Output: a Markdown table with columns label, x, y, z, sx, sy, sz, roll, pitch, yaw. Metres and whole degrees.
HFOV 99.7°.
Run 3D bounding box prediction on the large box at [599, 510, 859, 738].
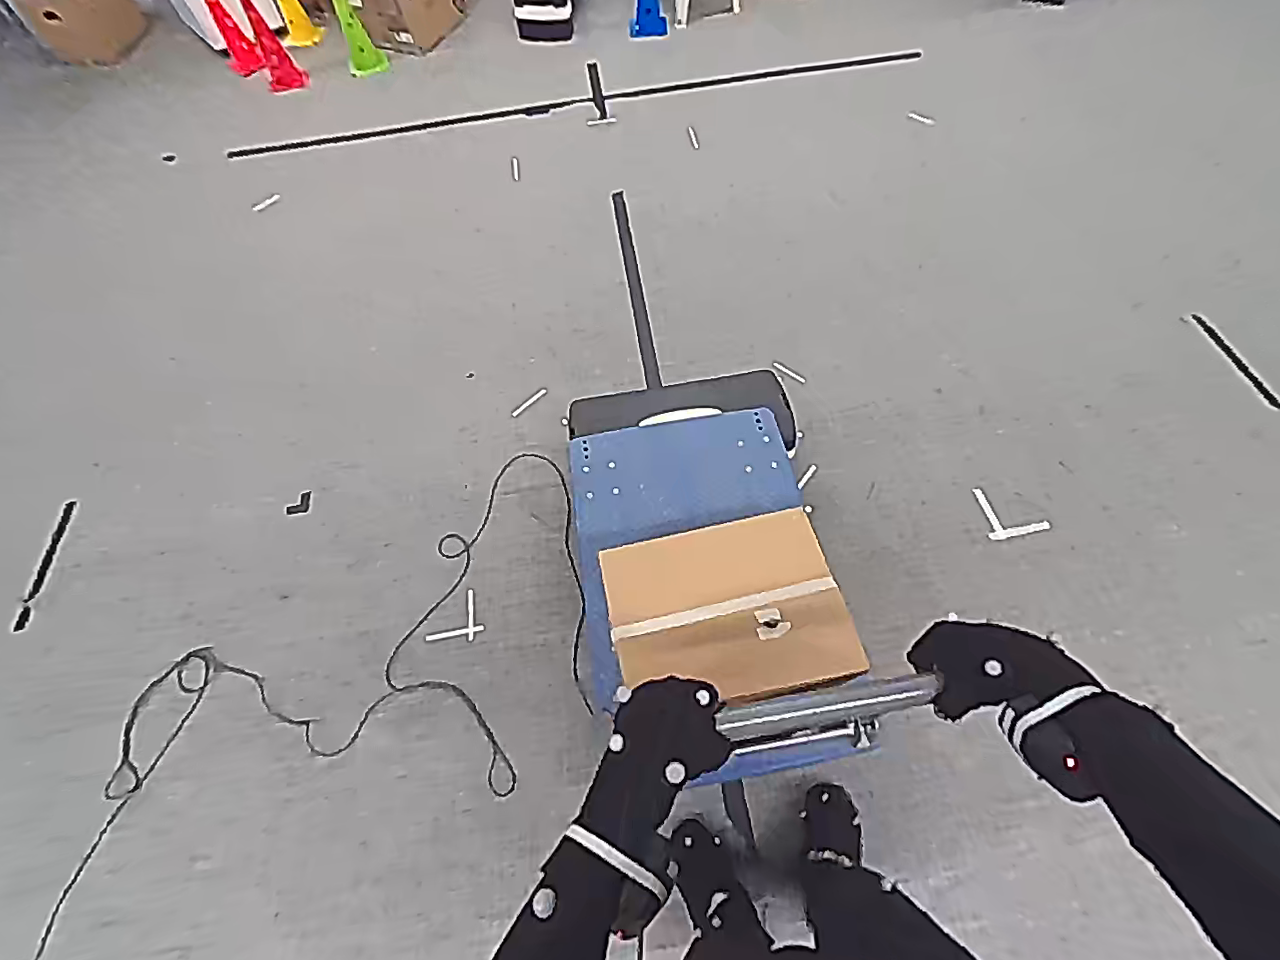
| label | x | y | z | sx | sy | sz | roll | pitch | yaw |
| --- | --- | --- | --- | --- | --- | --- | --- | --- | --- |
| large box | 0.151 | 0.302 | 1.101 | 0.408 | 0.320 | 0.320 | -12 | 62 | -5 |
